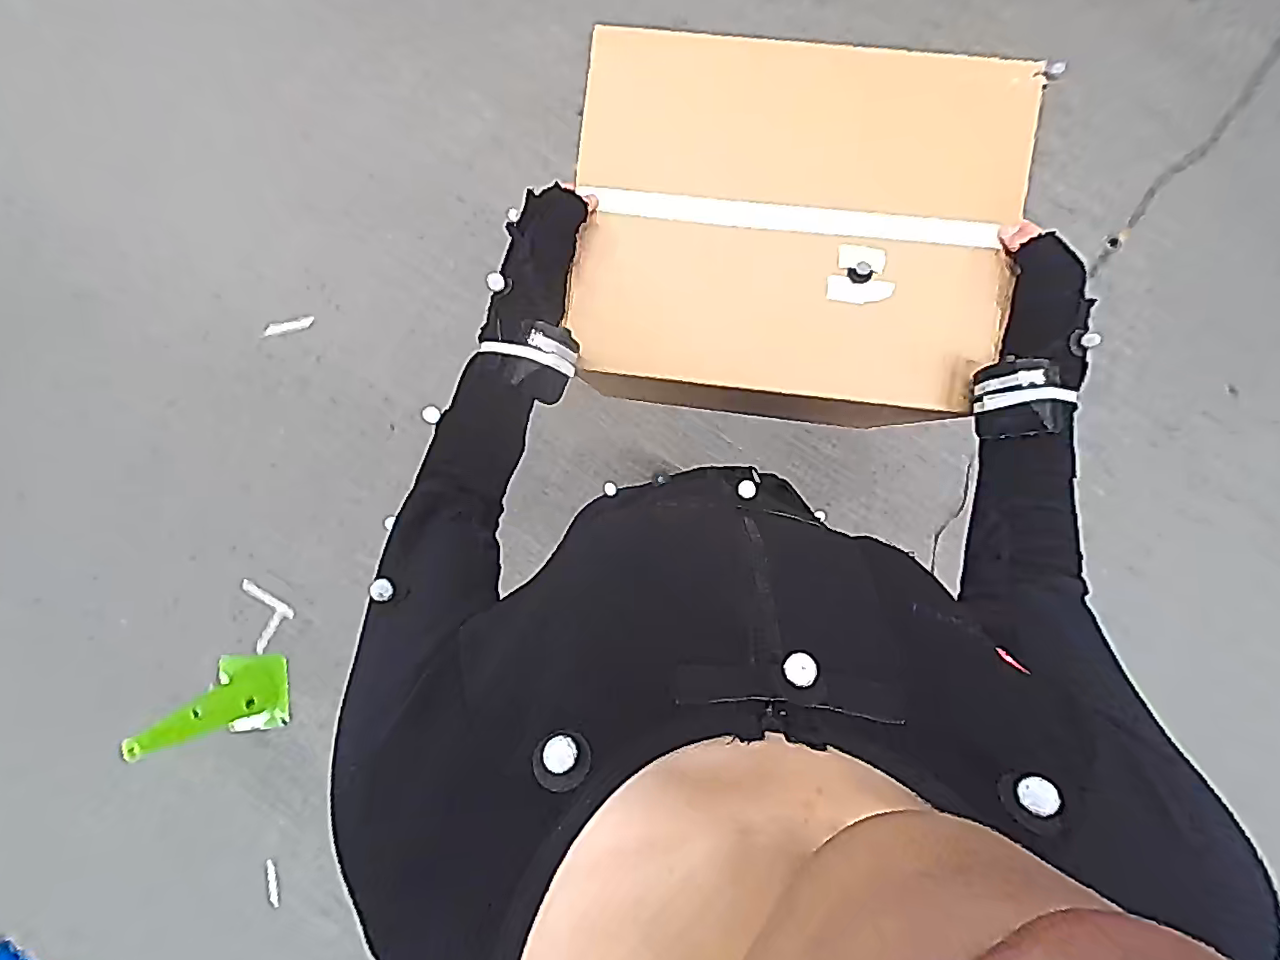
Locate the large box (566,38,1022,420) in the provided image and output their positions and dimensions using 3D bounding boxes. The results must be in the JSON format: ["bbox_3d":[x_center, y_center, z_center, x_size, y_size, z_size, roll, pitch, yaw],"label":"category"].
[{"bbox_3d":[0.142,-0.250,0.652,0.408,0.320,0.320,6,94,2],"label":"large box"}]

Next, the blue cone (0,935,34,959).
[{"bbox_3d":[-1.848,1.445,1.408,0.192,0.380,0.193,36,91,5],"label":"blue cone"}]

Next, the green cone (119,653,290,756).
[{"bbox_3d":[-1.108,0.589,1.367,0.202,0.368,0.200,-5,88,5],"label":"green cone"}]
